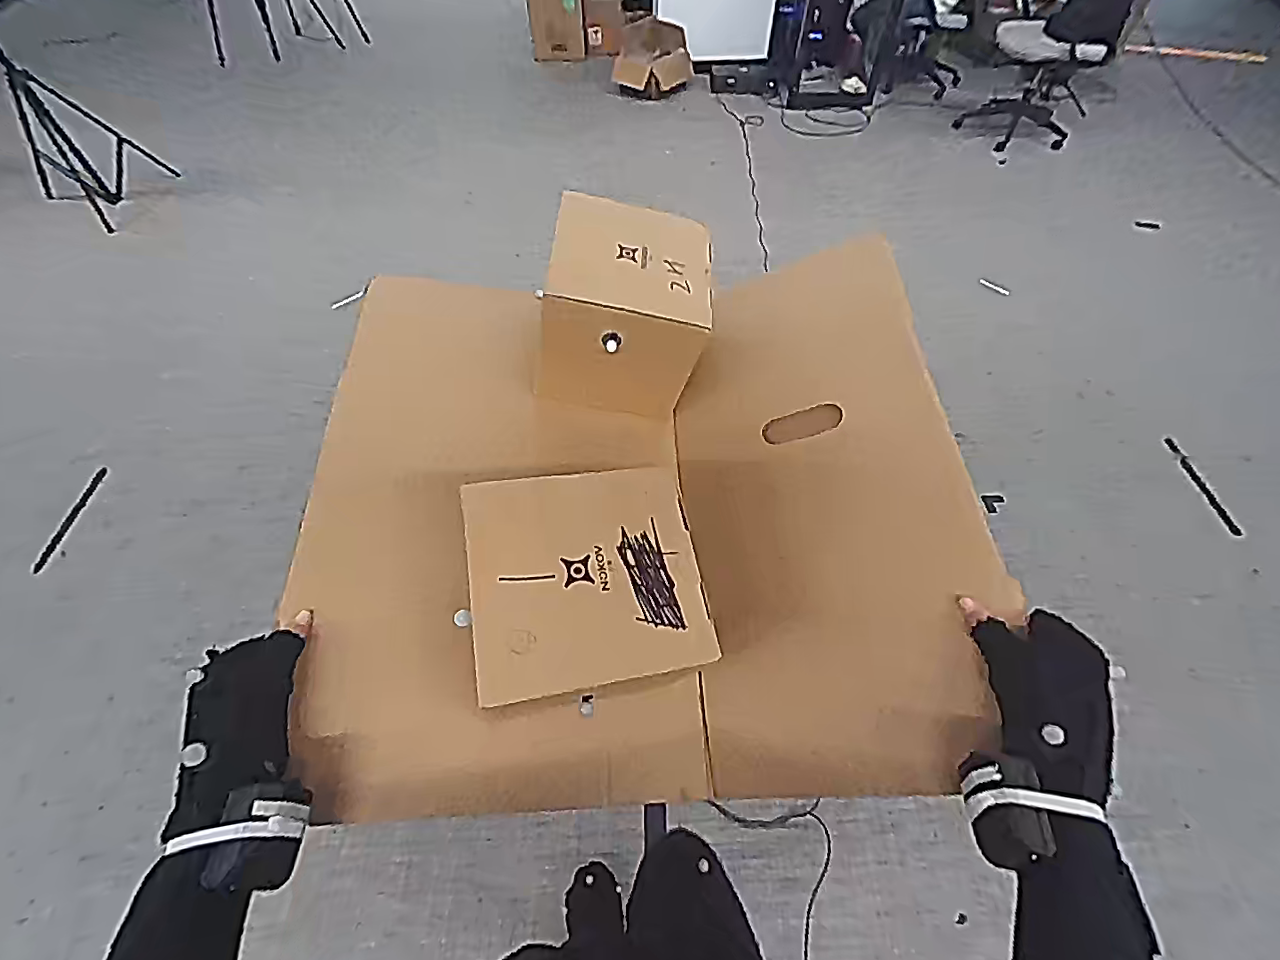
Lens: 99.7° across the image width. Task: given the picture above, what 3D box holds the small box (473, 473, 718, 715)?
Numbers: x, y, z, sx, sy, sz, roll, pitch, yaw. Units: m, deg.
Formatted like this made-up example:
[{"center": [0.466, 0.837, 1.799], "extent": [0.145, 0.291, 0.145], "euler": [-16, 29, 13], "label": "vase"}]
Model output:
[{"center": [-0.054, 0.107, 0.490], "extent": [0.179, 0.176, 0.168], "euler": [-5, 64, -16], "label": "small box"}]

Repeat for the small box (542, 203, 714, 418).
[{"center": [-0.020, -0.195, 0.660], "extent": [0.179, 0.176, 0.168], "euler": [10, 61, -10], "label": "small box"}]
